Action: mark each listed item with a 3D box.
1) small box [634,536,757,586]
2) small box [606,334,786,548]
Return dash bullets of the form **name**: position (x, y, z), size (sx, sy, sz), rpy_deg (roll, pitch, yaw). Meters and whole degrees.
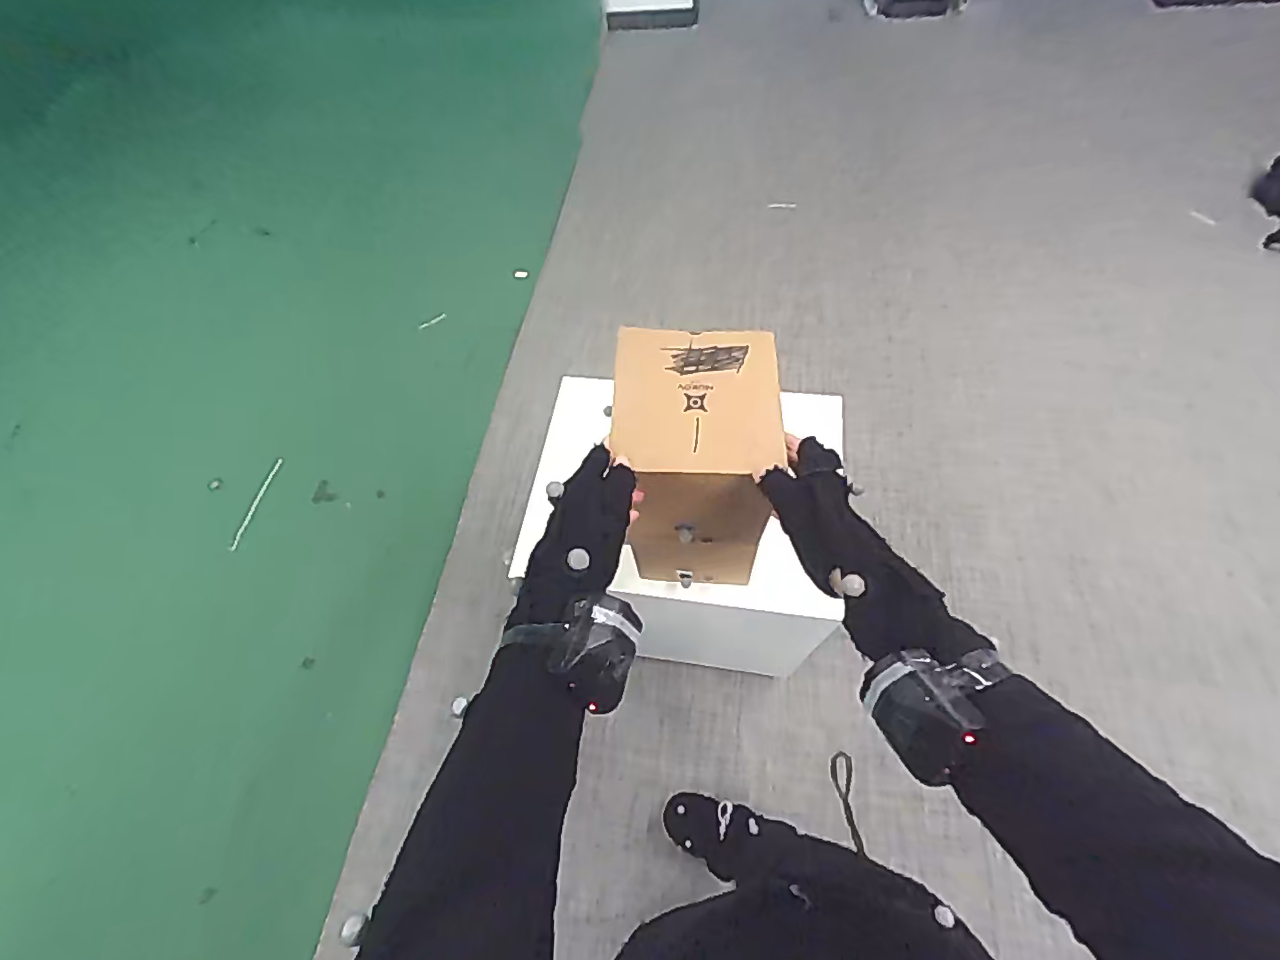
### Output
- **small box**: position (0.078, 0.041, 0.778), size (0.168, 0.176, 0.179), rpy_deg (0, 63, 8)
- **small box**: position (0.051, -0.039, 0.599), size (0.168, 0.176, 0.179), rpy_deg (-2, 58, 1)
